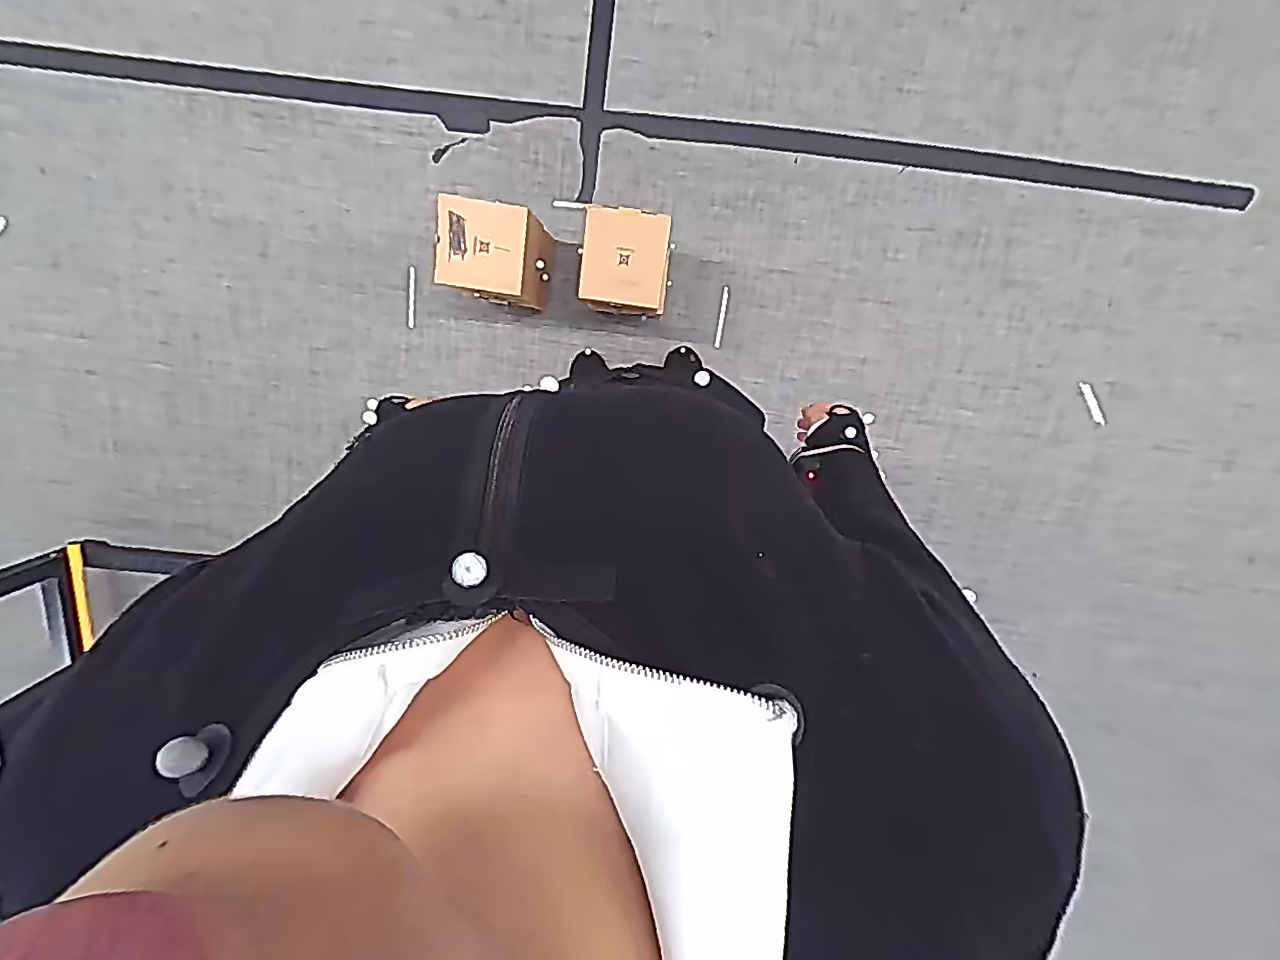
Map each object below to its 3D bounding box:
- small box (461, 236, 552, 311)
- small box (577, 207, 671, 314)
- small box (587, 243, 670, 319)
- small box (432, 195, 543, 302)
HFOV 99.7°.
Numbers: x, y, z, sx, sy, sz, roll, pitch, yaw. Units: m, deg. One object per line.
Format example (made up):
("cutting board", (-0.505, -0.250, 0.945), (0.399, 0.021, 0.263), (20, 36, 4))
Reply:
("small box", (-0.312, -0.506, 1.287), (0.168, 0.176, 0.179), (10, 105, -1))
("small box", (-0.032, -0.449, 1.131), (0.168, 0.176, 0.179), (8, 106, -1))
("small box", (-0.027, -0.479, 1.291), (0.179, 0.176, 0.168), (6, 105, -1))
("small box", (-0.312, -0.470, 1.125), (0.179, 0.176, 0.168), (9, 105, -2))
